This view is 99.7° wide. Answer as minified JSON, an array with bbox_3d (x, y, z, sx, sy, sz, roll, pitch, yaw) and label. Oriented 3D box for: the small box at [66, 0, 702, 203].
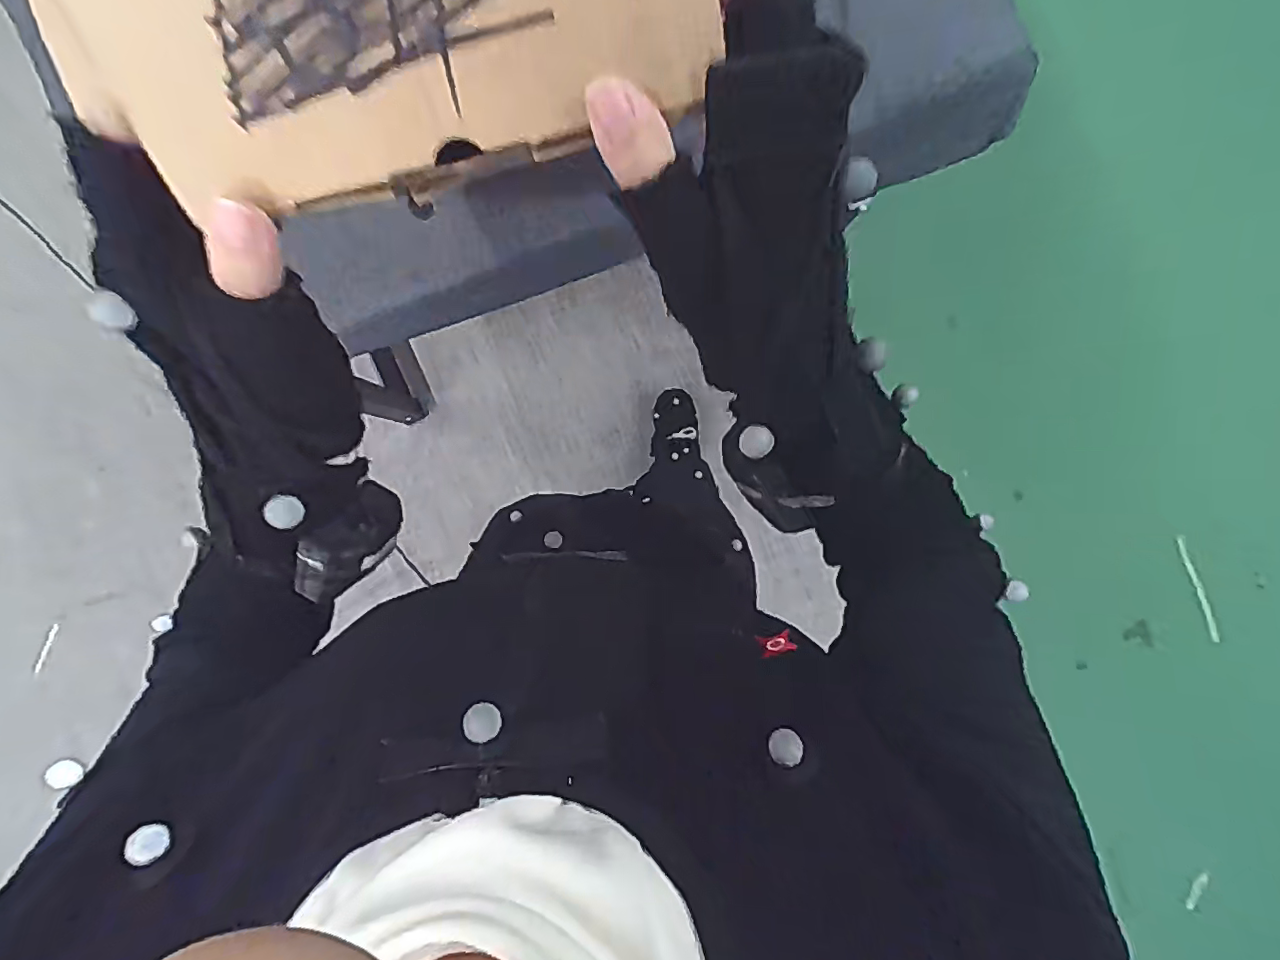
[{"bbox_3d":[-0.083,-0.215,0.186,0.168,0.176,0.179,-14,121,2],"label":"small box"}]
